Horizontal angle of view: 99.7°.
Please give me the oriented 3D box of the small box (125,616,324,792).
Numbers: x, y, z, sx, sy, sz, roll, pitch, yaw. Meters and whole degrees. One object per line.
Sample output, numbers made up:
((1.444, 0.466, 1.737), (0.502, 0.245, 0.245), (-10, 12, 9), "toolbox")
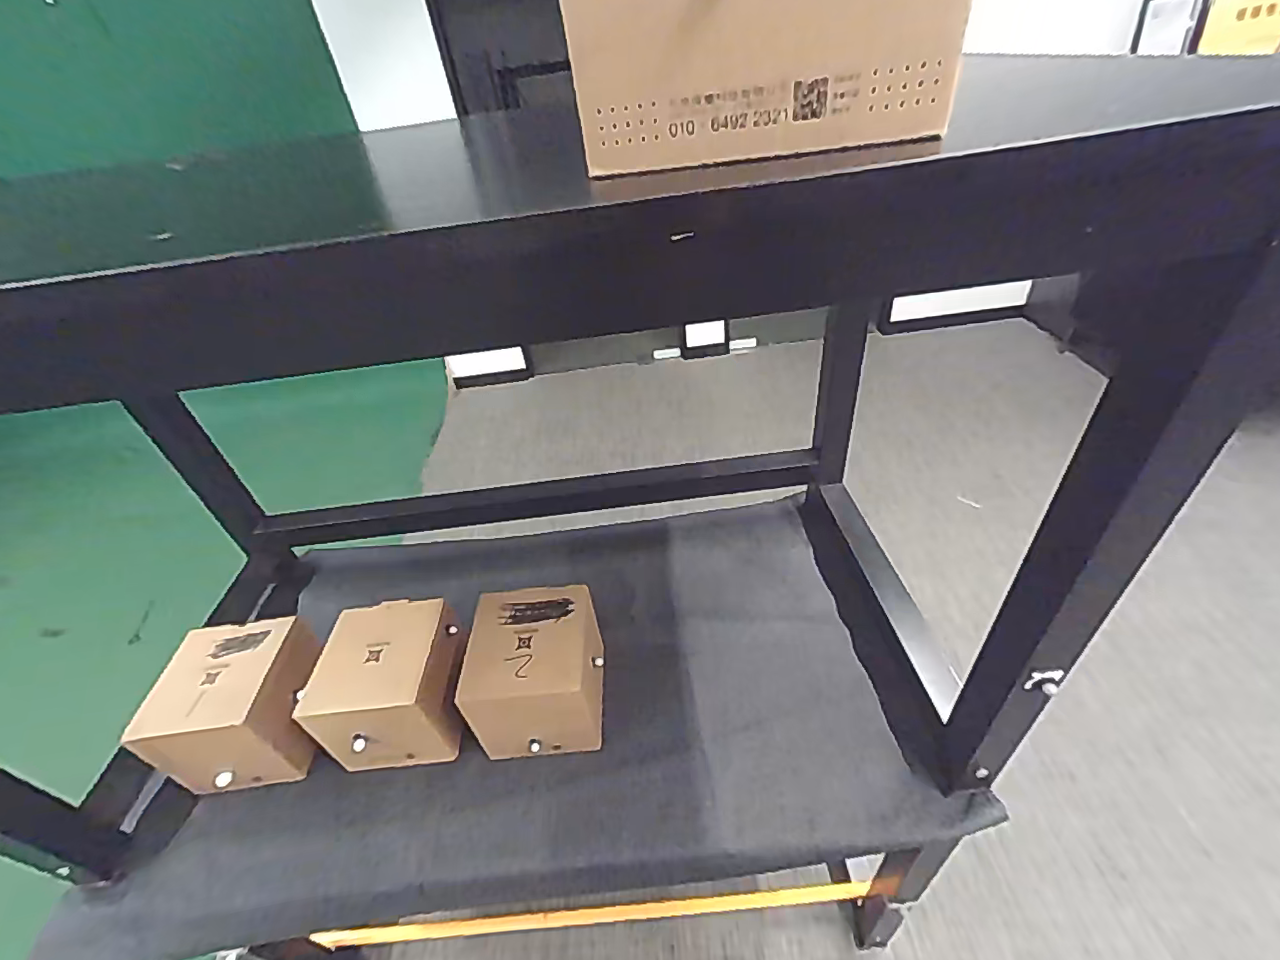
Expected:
((-0.586, 0.335, 0.813), (0.168, 0.176, 0.179), (-8, 38, 0), "small box")

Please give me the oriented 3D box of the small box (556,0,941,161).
((0.049, -0.271, 0.272), (0.168, 0.176, 0.179), (-1, 38, 9), "small box")

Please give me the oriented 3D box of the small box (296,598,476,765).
((-0.361, 0.306, 0.811), (0.168, 0.176, 0.179), (-6, 37, 2), "small box")
